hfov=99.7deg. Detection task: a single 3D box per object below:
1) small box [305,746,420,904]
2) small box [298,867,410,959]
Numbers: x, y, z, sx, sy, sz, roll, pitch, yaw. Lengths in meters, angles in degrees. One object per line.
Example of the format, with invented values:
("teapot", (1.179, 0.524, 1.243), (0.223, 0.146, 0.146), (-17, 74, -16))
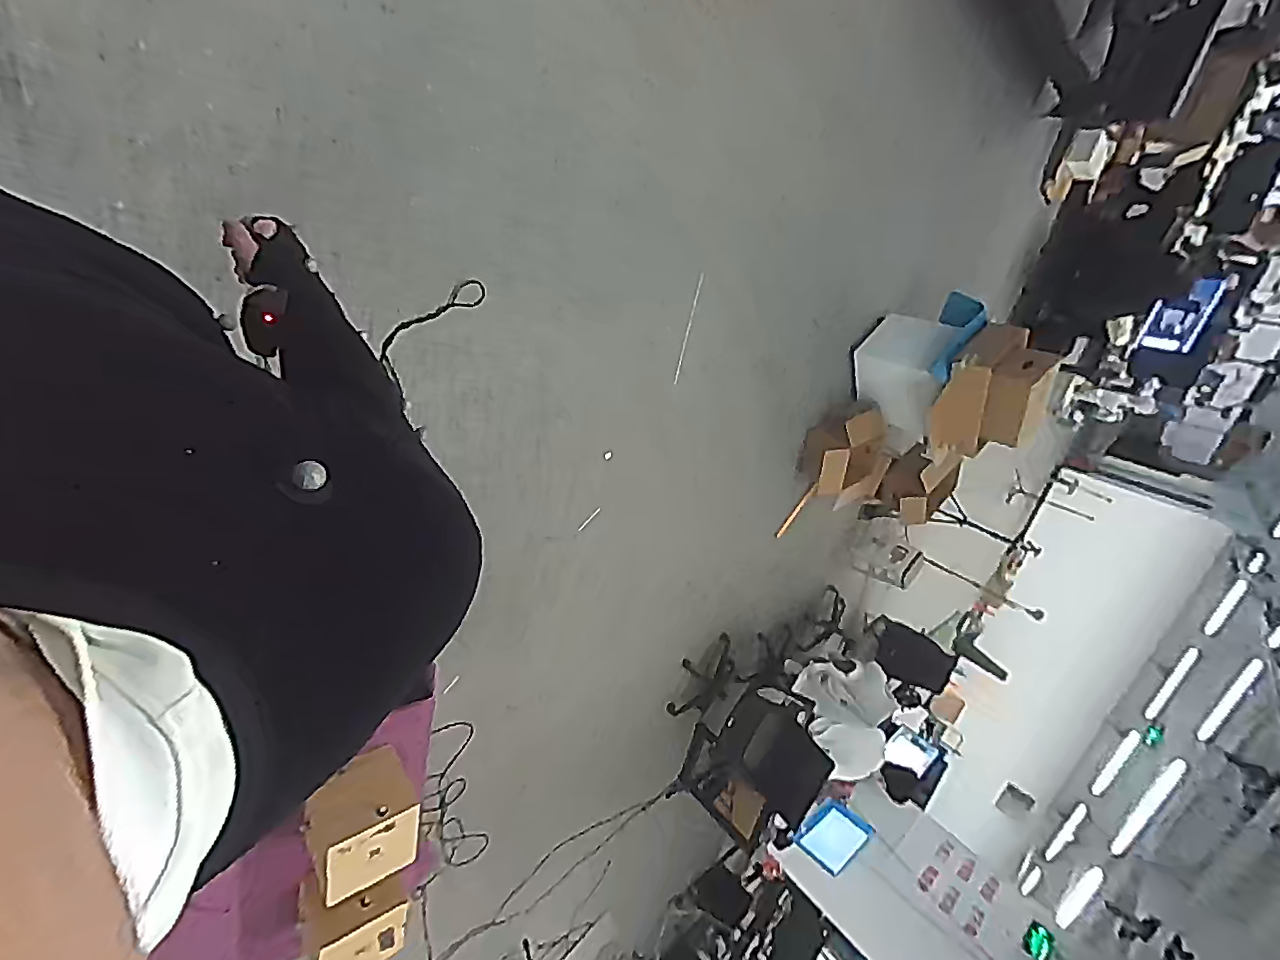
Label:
("small box", (-0.566, 0.687, 1.097), (0.168, 0.176, 0.179), (-8, 121, -43))
("small box", (-0.635, 0.951, 1.196), (0.179, 0.176, 0.168), (-5, 117, -43))
